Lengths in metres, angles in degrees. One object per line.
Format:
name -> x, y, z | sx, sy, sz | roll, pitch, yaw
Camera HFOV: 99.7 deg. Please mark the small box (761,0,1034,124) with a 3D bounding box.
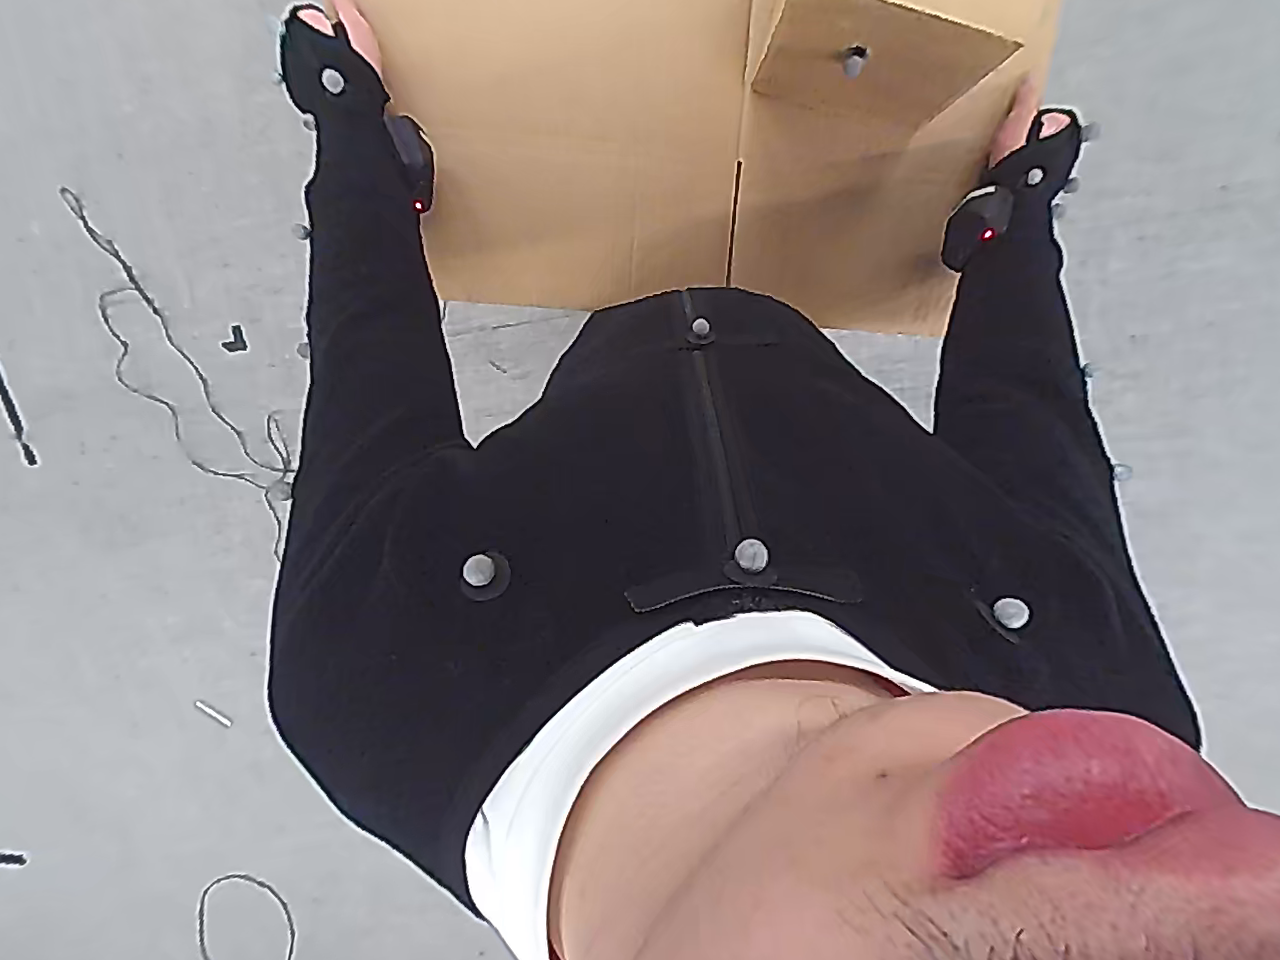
small box -> 0.216, -0.435, 0.454 | 0.179, 0.176, 0.168 | 14, 103, -2
